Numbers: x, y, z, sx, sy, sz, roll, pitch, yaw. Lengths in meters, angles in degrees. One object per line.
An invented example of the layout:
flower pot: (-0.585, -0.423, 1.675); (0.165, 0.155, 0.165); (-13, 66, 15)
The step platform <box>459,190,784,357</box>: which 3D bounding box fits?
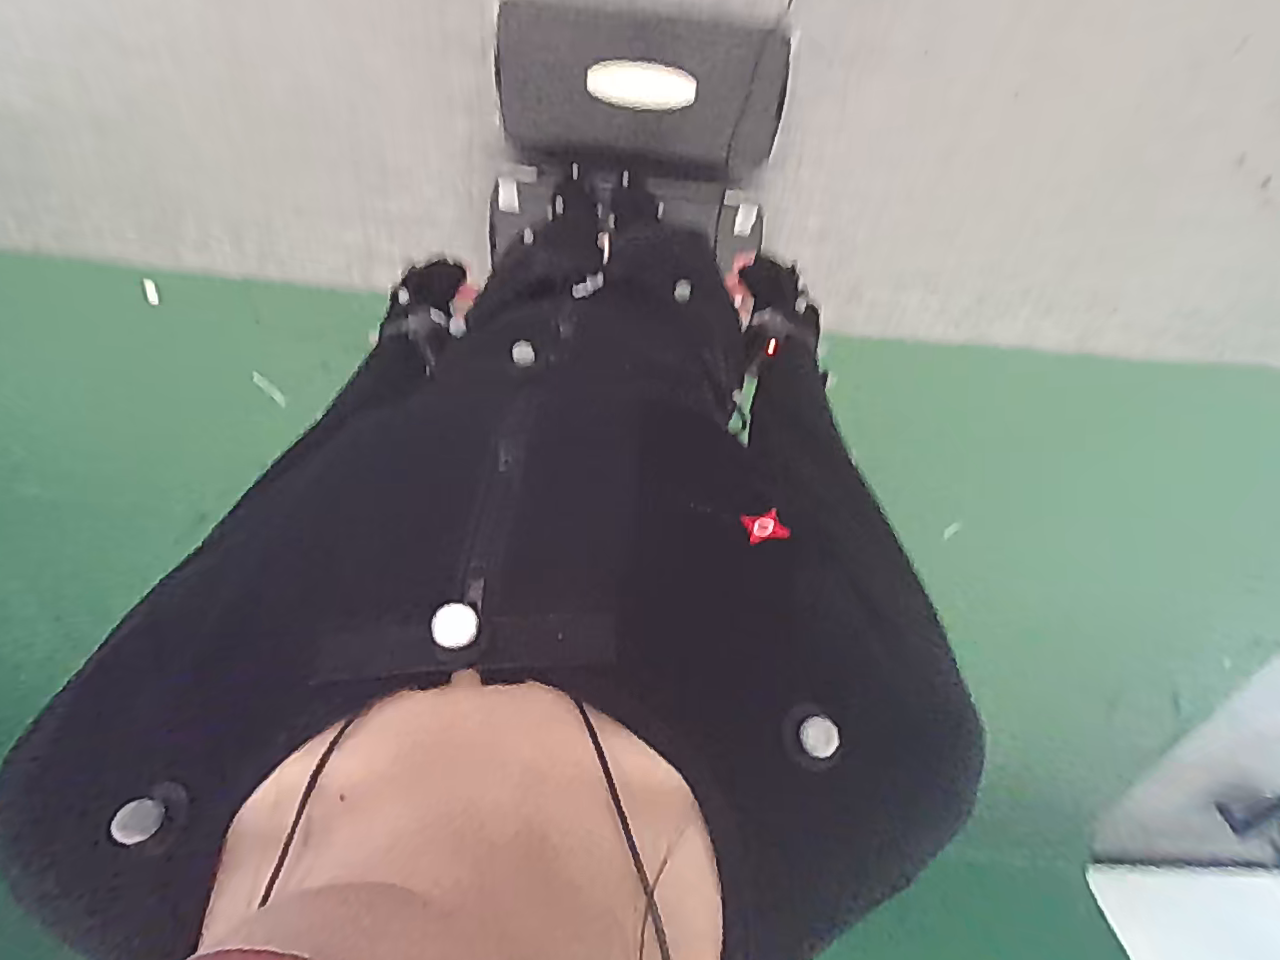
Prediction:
step platform: (-0.041, -0.470, 1.232); (0.684, 0.204, 0.286); (4, 121, -5)
